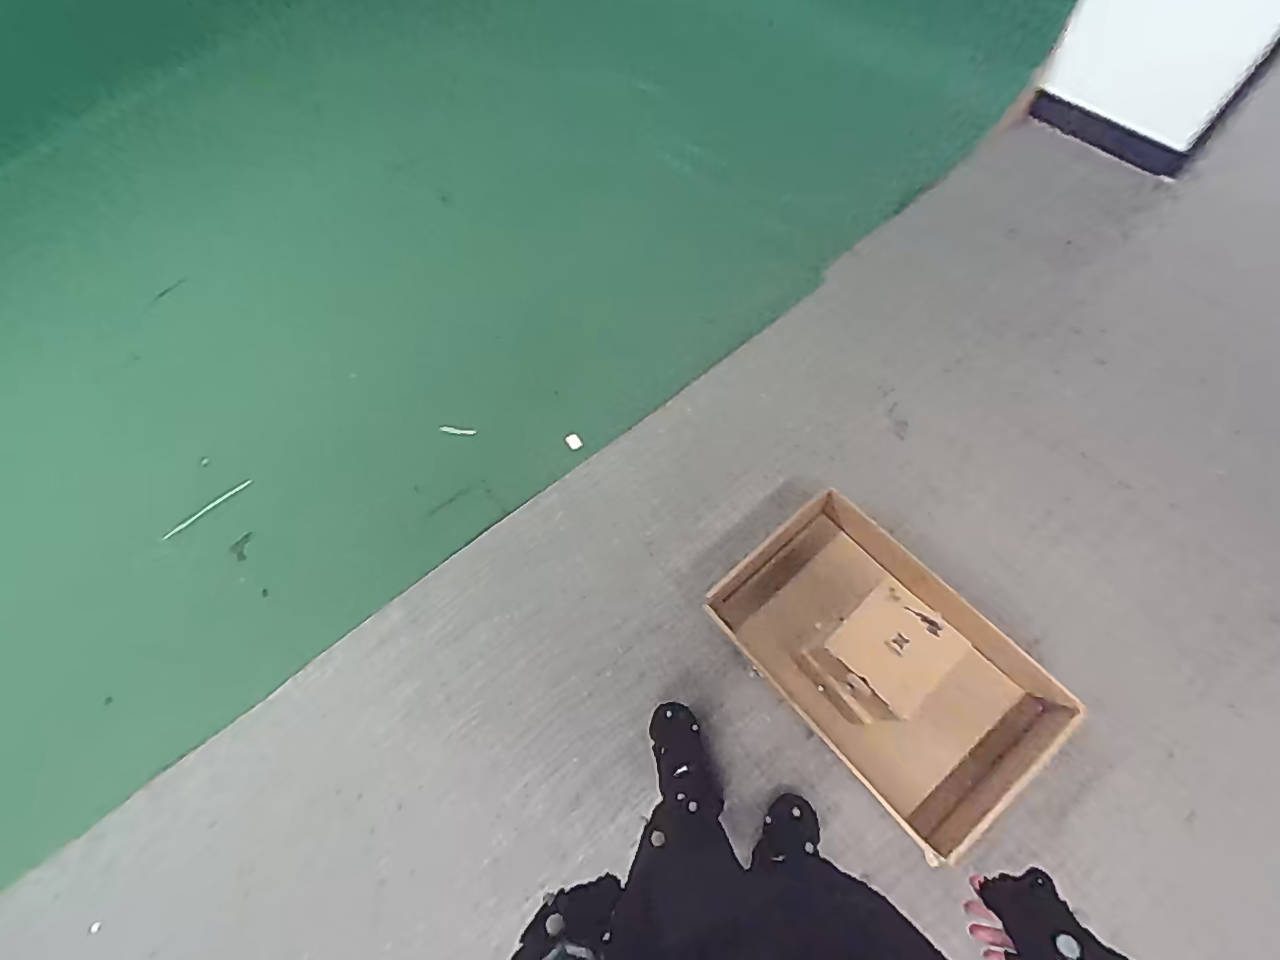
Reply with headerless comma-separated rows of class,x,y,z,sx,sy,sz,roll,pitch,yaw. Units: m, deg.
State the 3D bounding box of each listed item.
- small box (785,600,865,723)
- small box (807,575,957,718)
small box,0.429,0.384,1.142,0.168,0.176,0.179,-37,66,-9
small box,0.422,0.306,0.980,0.179,0.176,0.168,-41,67,-9
